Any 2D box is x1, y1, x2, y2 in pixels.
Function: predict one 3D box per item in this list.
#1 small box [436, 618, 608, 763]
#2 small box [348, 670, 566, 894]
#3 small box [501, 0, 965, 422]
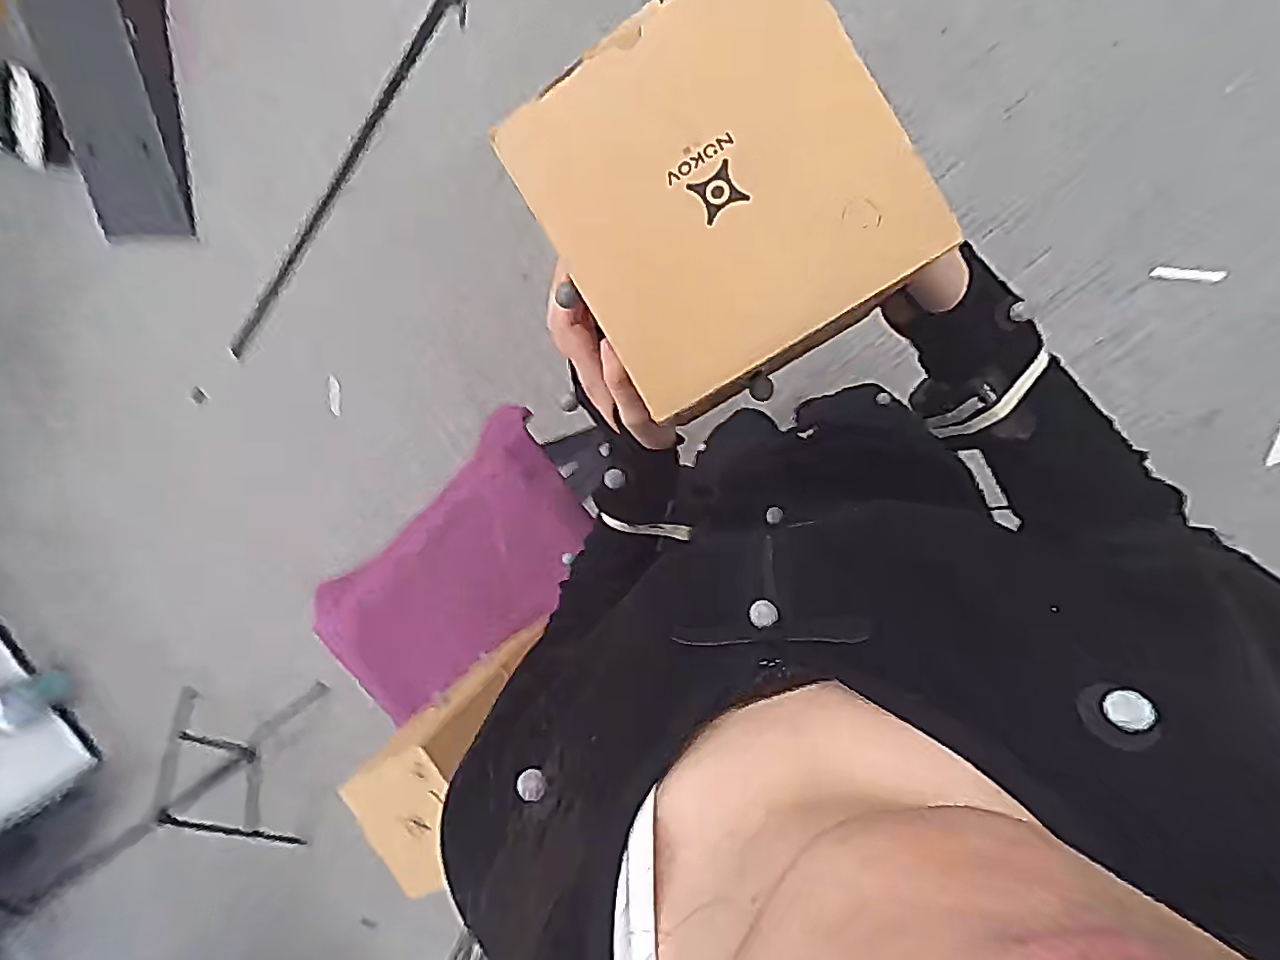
[{"bbox_3d":[-0.181,0.356,0.868,0.179,0.176,0.168,-38,89,22],"label":"small box"},{"bbox_3d":[-0.231,0.389,0.714,0.179,0.176,0.168,-35,90,24],"label":"small box"},{"bbox_3d":[0.053,-0.150,0.338,0.168,0.176,0.179,-30,89,11],"label":"small box"}]
